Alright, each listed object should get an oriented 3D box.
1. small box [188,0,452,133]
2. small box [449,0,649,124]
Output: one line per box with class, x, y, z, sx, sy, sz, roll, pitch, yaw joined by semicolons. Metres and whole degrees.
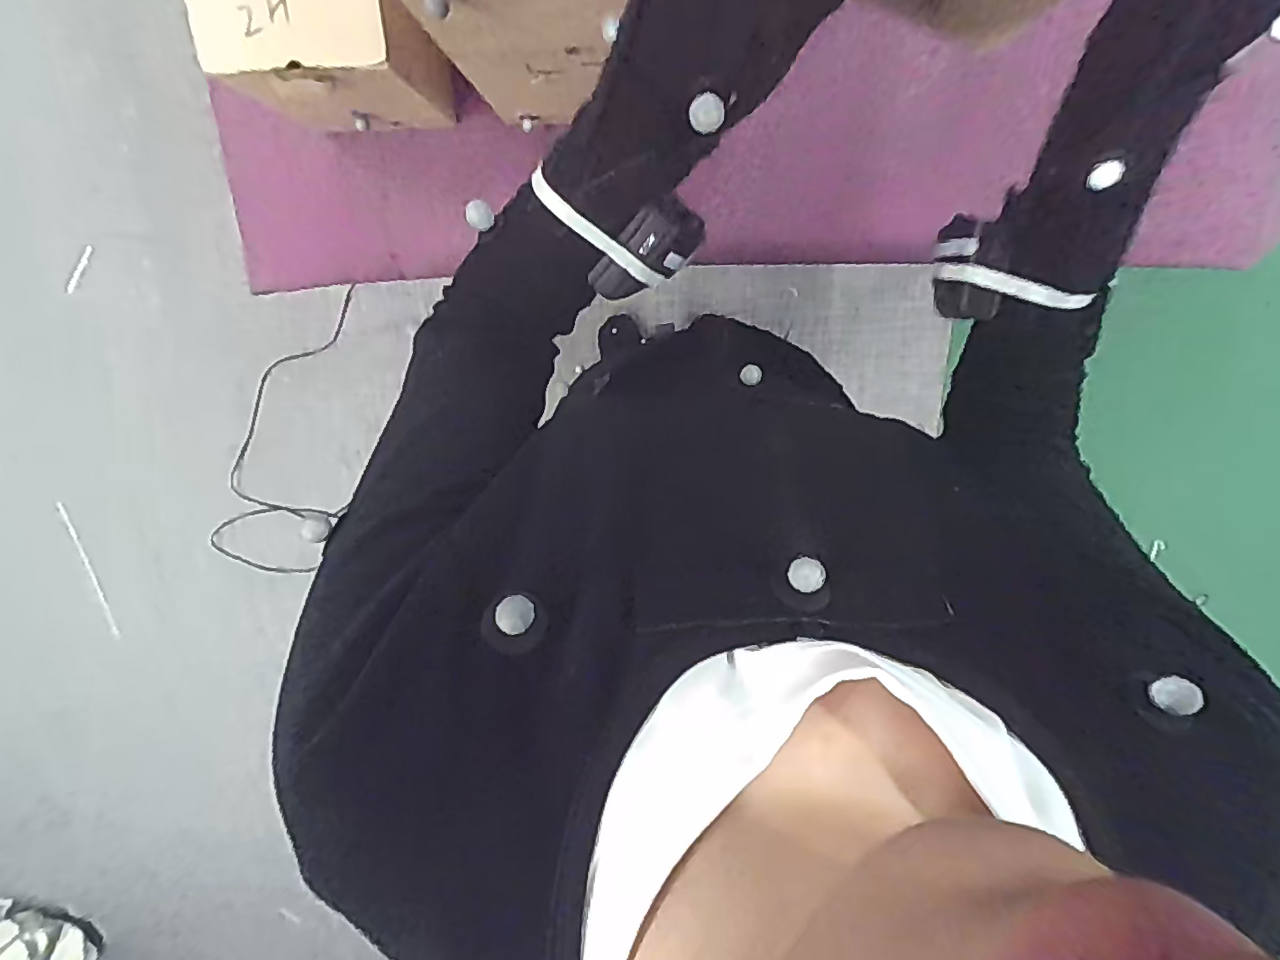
small box;-0.296;-0.461;0.520;0.168;0.176;0.179;0;108;2
small box;-0.076;-0.461;0.515;0.168;0.176;0.179;1;107;1
